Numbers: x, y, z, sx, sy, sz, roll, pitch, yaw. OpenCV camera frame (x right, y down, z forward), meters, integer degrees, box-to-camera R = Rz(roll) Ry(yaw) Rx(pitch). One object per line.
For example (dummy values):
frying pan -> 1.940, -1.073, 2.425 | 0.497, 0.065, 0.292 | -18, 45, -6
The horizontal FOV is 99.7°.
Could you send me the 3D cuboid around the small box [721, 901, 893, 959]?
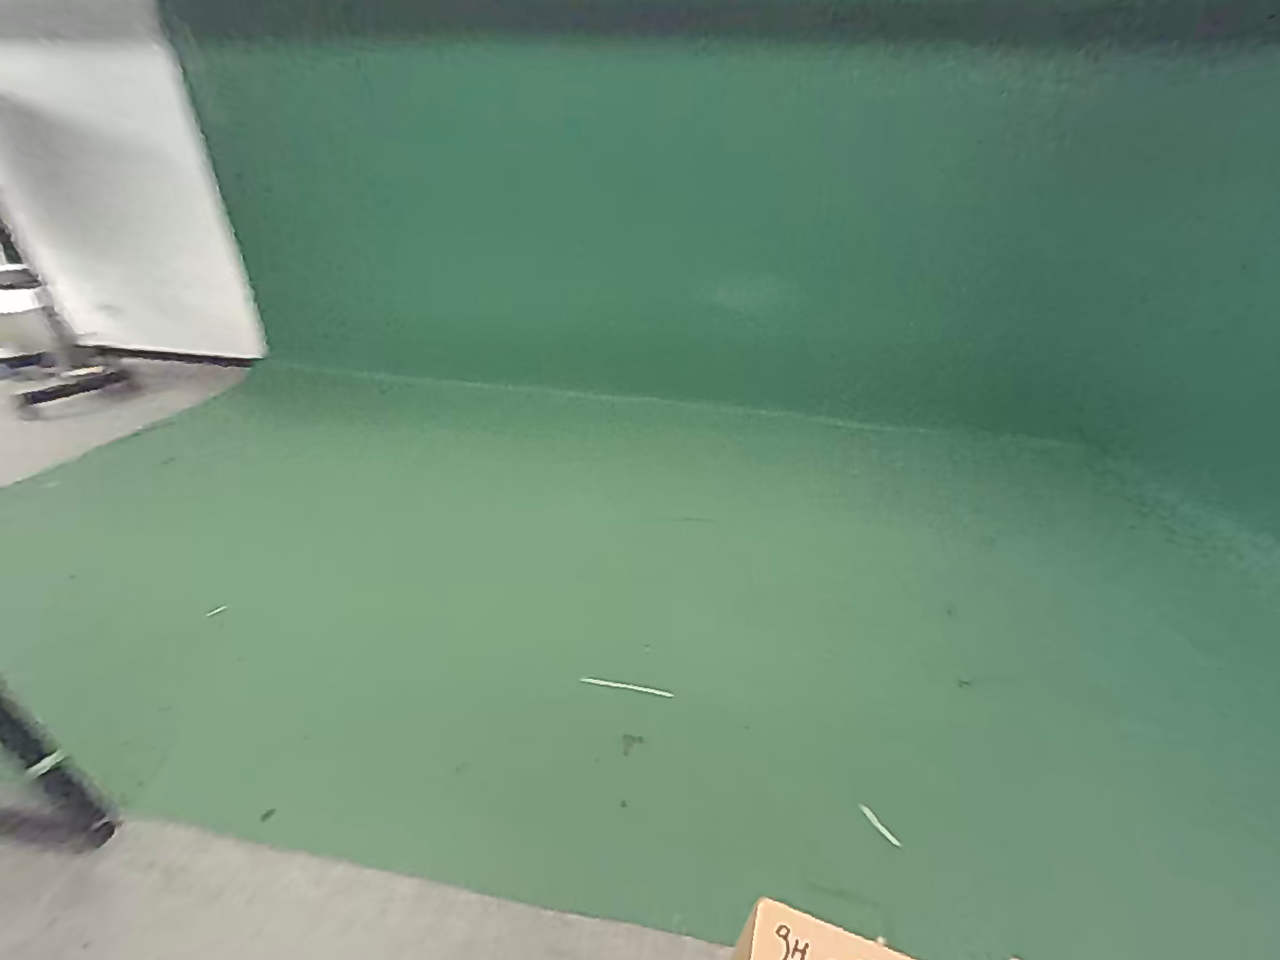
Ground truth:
small box -> 0.131, 0.471, 0.403 | 0.168, 0.176, 0.179 | 13, 38, 14
